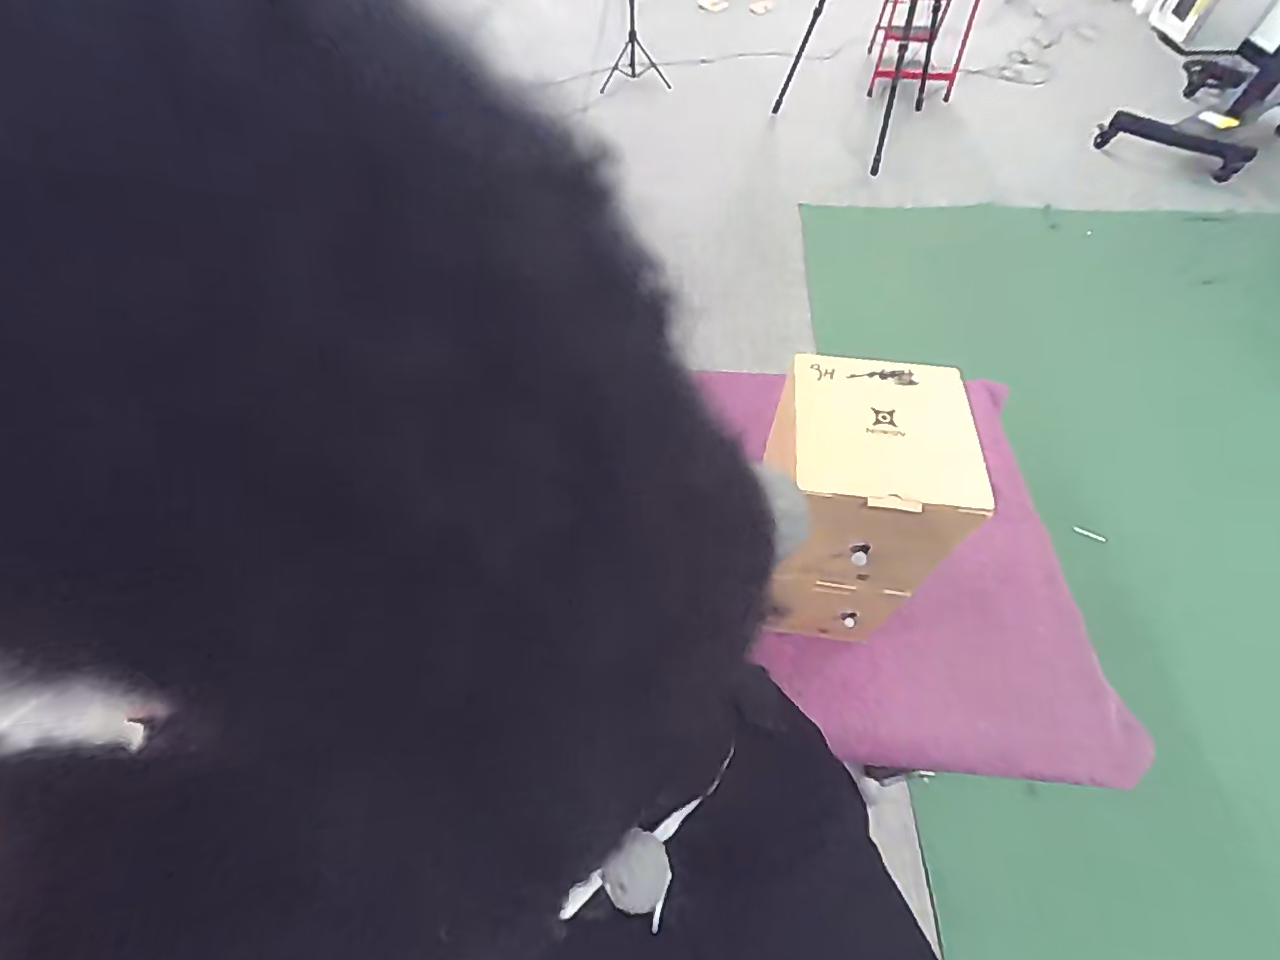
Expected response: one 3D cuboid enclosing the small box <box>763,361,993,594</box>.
[{"bbox_3d":[0.227,0.003,0.566,0.168,0.176,0.179,8,56,5],"label":"small box"}]
